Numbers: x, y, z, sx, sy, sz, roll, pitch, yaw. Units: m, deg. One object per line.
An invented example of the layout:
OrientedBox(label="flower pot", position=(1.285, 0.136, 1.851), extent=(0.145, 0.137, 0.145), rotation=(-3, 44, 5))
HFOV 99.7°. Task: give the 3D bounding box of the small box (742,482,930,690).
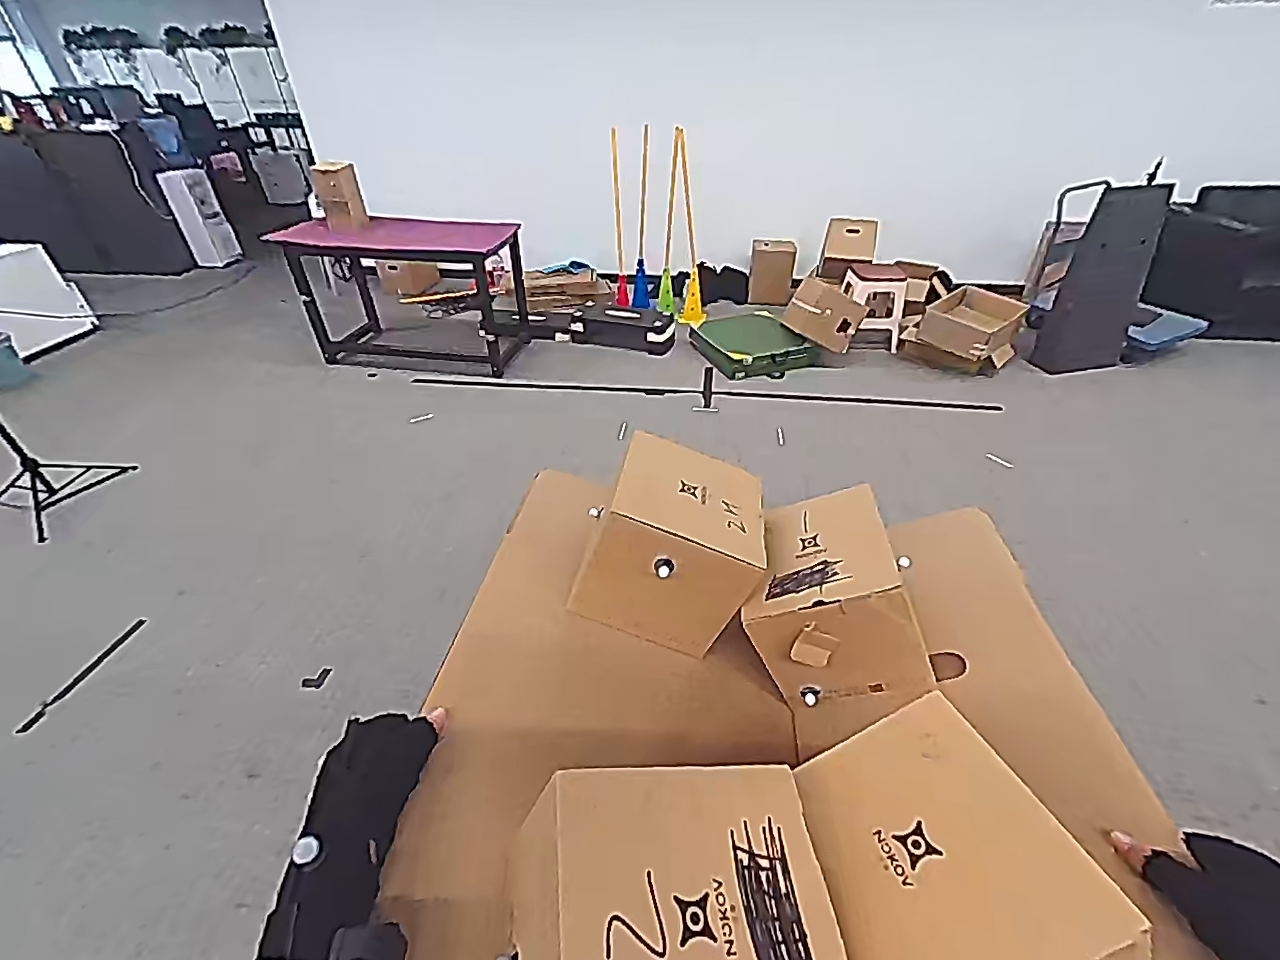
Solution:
OrientedBox(label="small box", position=(0.233, 0.136, 0.661), extent=(0.168, 0.176, 0.179), rotation=(-18, 29, 23))
